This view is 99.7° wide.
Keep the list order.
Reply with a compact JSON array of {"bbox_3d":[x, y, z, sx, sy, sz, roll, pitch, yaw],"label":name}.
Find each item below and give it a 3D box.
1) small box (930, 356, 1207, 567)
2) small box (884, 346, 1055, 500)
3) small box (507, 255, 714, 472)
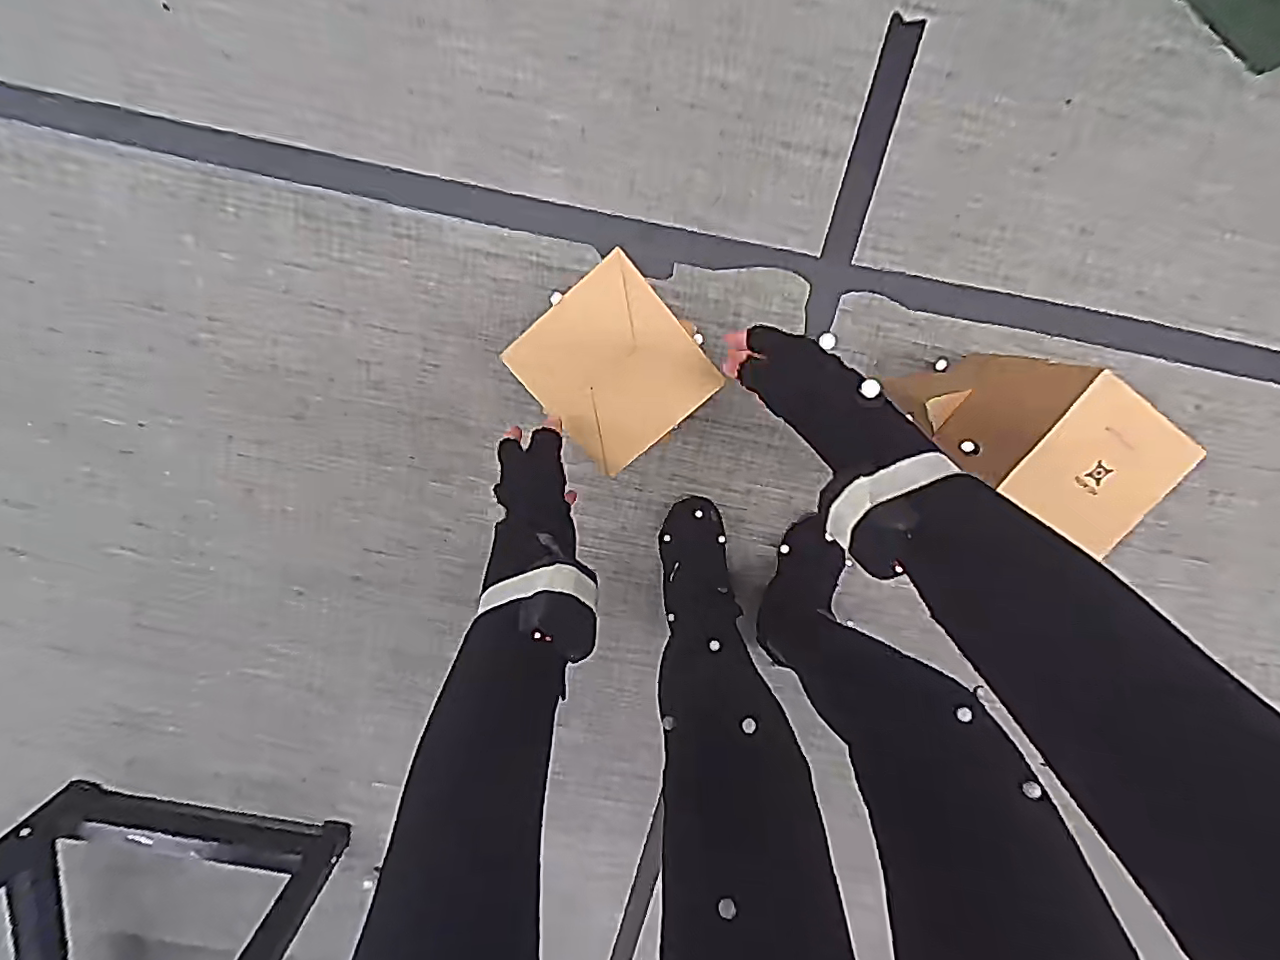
[{"bbox_3d":[0.495,-0.033,0.662,0.168,0.176,0.179,33,104,-10],"label":"small box"},{"bbox_3d":[0.493,-0.093,0.817,0.179,0.176,0.168,-21,105,6],"label":"small box"},{"bbox_3d":[-0.029,-0.135,0.634,0.168,0.176,0.179,-44,102,11],"label":"small box"}]
